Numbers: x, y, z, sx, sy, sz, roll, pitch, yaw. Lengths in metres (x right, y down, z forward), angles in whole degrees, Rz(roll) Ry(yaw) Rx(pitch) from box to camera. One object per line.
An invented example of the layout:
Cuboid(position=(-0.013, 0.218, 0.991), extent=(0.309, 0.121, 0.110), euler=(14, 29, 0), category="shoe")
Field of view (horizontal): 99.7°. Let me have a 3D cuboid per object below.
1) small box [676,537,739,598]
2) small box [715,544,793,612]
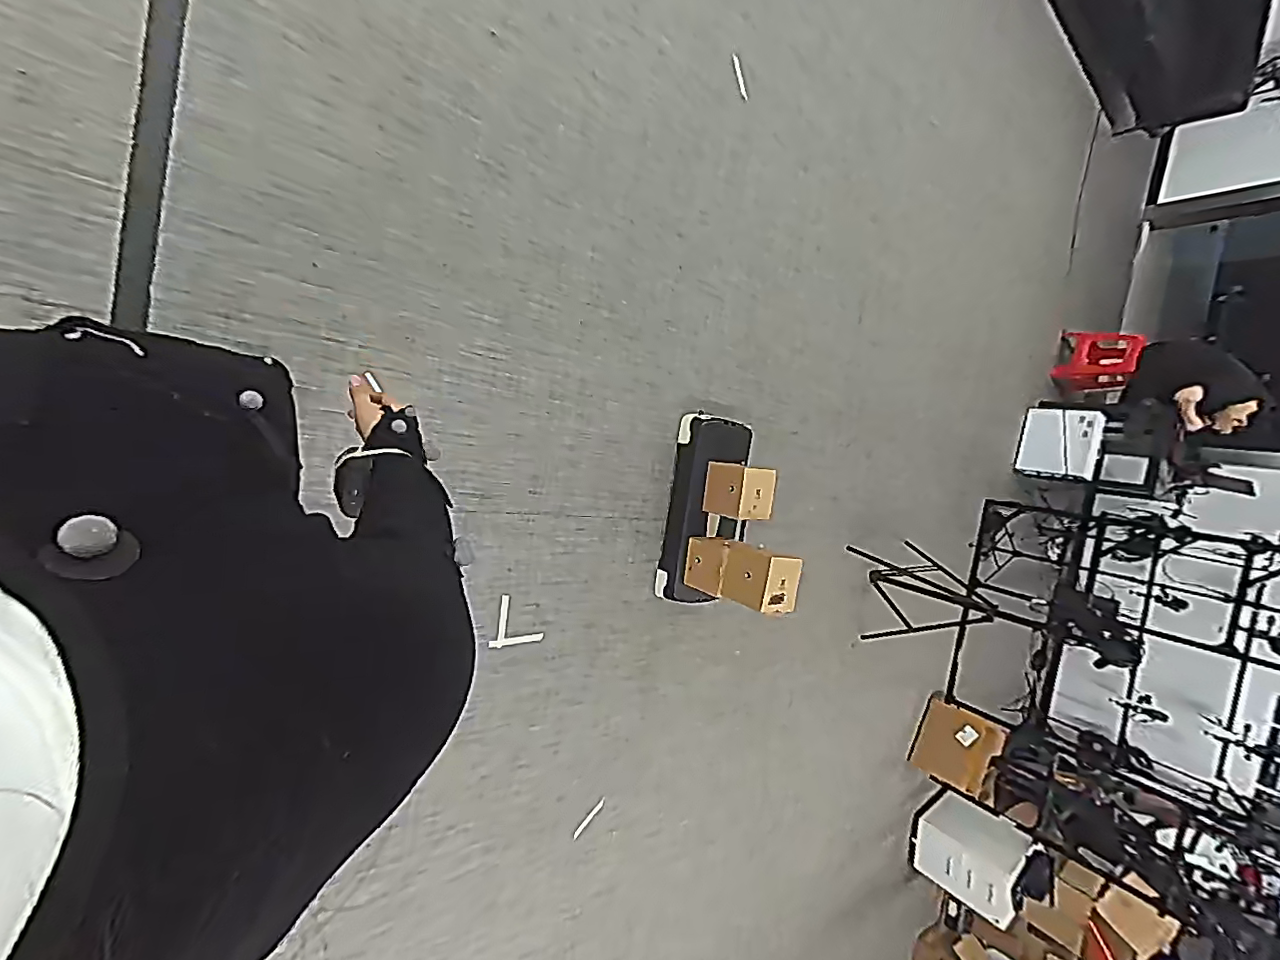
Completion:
Cuboid(position=(0.250, 0.295, 1.867), extent=(0.179, 0.176, 0.168), euler=(4, 96, -39), category="small box")
Cuboid(position=(0.363, 0.316, 1.749), extent=(0.168, 0.176, 0.179), euler=(11, 91, -39), category="small box")
